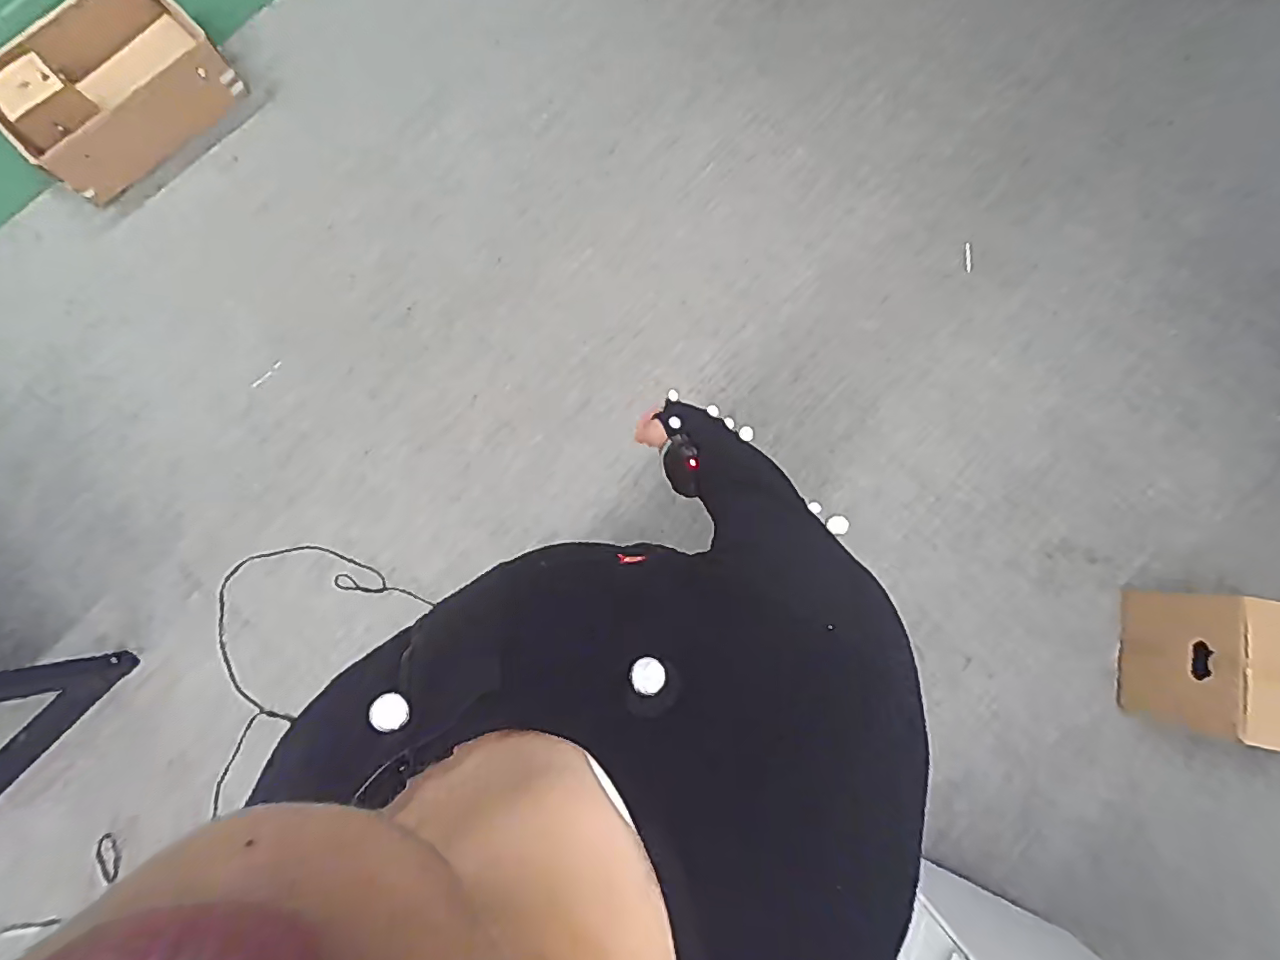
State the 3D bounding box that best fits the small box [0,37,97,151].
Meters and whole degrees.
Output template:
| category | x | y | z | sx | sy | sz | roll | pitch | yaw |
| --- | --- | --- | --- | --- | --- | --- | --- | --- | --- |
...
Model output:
| category | x | y | z | sx | sy | sz | roll | pitch | yaw |
| --- | --- | --- | --- | --- | --- | --- | --- | --- | --- |
| small box | -1.766 | -1.110 | 1.572 | 0.179 | 0.176 | 0.168 | -44 | 85 | -6 |
